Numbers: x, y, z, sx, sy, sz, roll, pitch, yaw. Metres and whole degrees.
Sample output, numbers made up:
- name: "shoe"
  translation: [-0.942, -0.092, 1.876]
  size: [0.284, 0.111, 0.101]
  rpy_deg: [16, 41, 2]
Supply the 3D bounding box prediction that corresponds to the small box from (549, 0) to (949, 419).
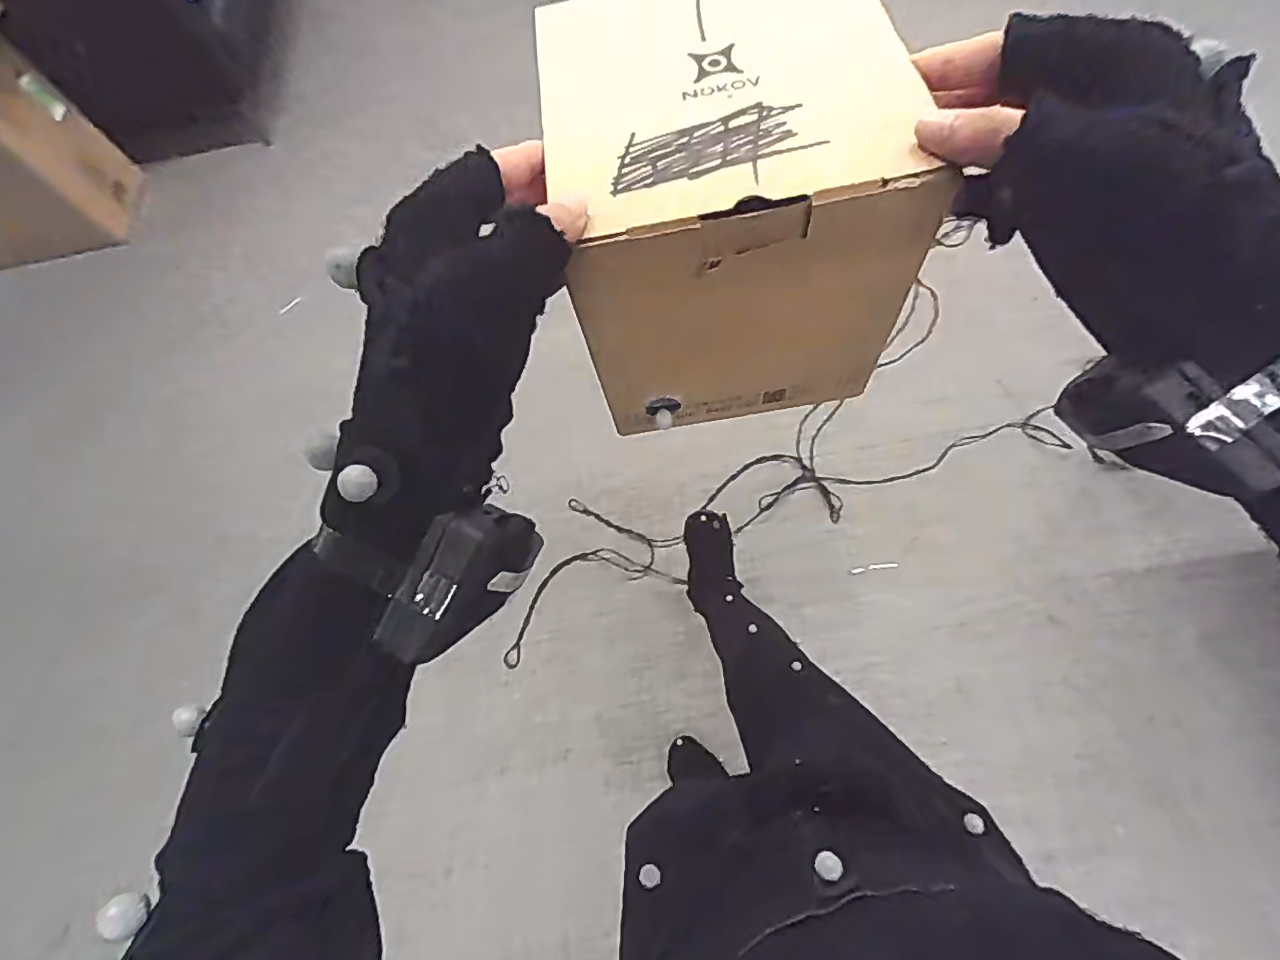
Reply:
- name: "small box"
  translation: [0.049, -0.151, 0.331]
  size: [0.168, 0.176, 0.179]
  rpy_deg: [-9, 65, 4]
